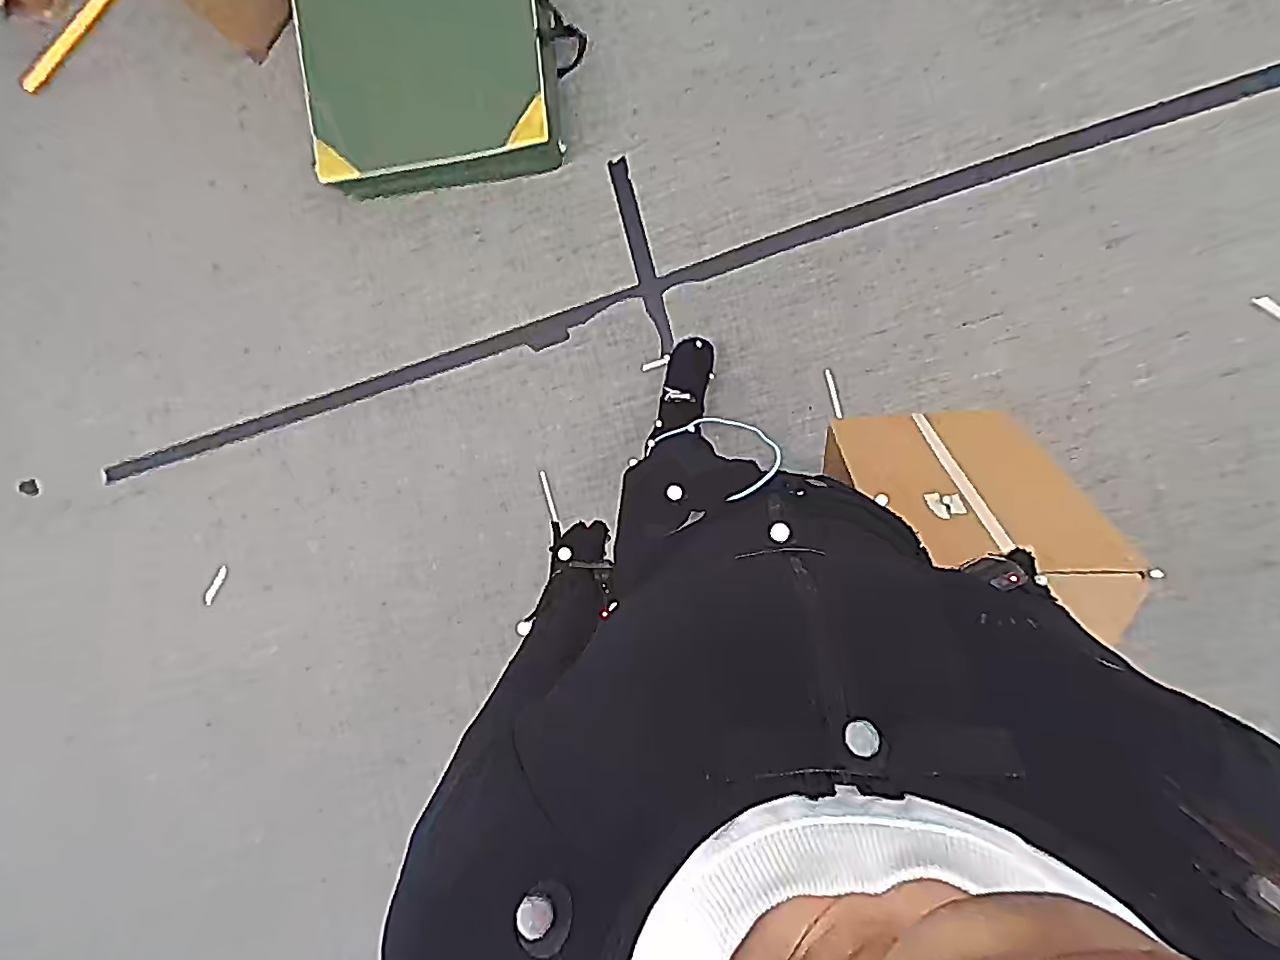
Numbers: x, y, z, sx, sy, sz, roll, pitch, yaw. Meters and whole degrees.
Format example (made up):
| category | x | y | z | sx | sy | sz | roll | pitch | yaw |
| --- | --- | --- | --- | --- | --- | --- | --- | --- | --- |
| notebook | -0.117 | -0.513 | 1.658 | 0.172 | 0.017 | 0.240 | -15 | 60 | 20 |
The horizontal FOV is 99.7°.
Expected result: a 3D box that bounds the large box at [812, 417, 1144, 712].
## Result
| category | x | y | z | sx | sy | sz | roll | pitch | yaw |
| --- | --- | --- | --- | --- | --- | --- | --- | --- | --- |
| large box | 0.498 | 0.128 | 0.925 | 0.320 | 0.408 | 0.320 | -3 | 127 | 8 |
